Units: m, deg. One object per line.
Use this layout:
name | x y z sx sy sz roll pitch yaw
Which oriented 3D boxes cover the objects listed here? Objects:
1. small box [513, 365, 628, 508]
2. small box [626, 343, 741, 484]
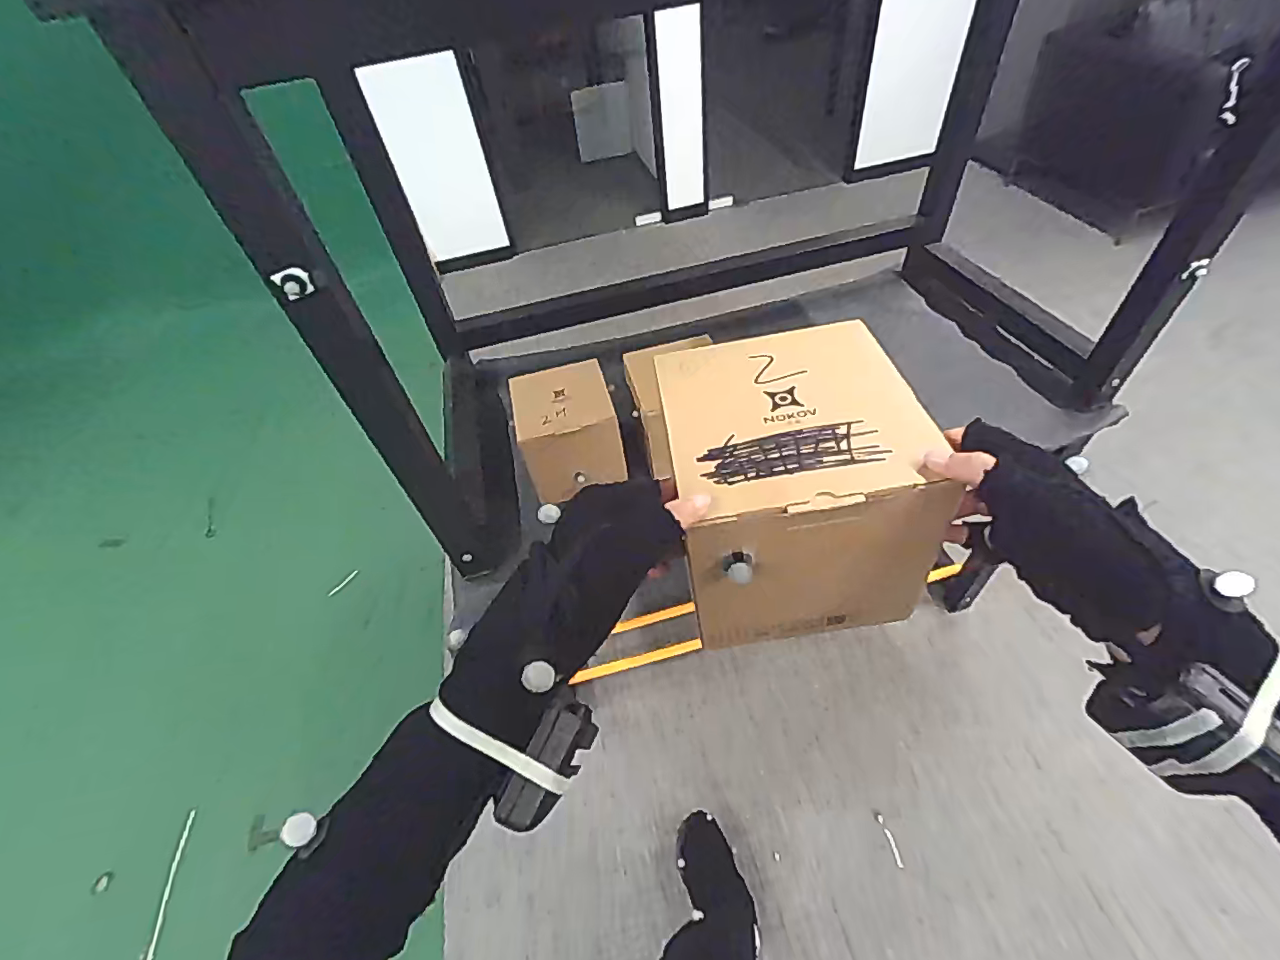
small box | -0.125 -0.078 0.983 0.168 0.176 0.179 -14 48 -5
small box | 0.077 -0.122 0.998 0.168 0.176 0.179 -15 48 -4
